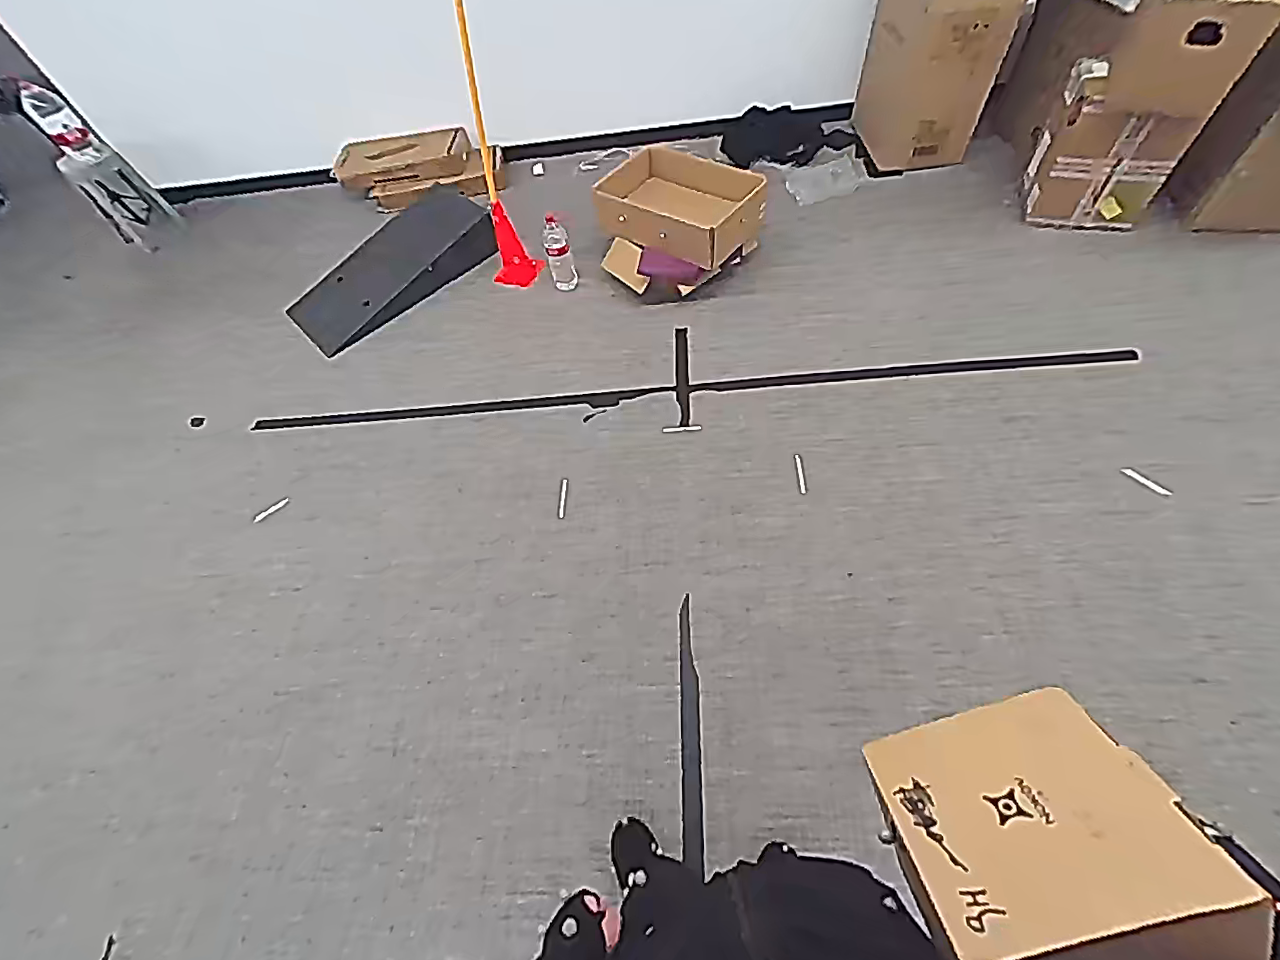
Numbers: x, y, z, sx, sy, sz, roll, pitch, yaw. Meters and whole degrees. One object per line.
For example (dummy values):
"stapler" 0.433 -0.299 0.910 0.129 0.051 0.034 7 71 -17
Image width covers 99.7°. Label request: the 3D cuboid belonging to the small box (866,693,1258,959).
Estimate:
"small box" 0.311 0.312 0.431 0.179 0.176 0.168 -20 21 7
